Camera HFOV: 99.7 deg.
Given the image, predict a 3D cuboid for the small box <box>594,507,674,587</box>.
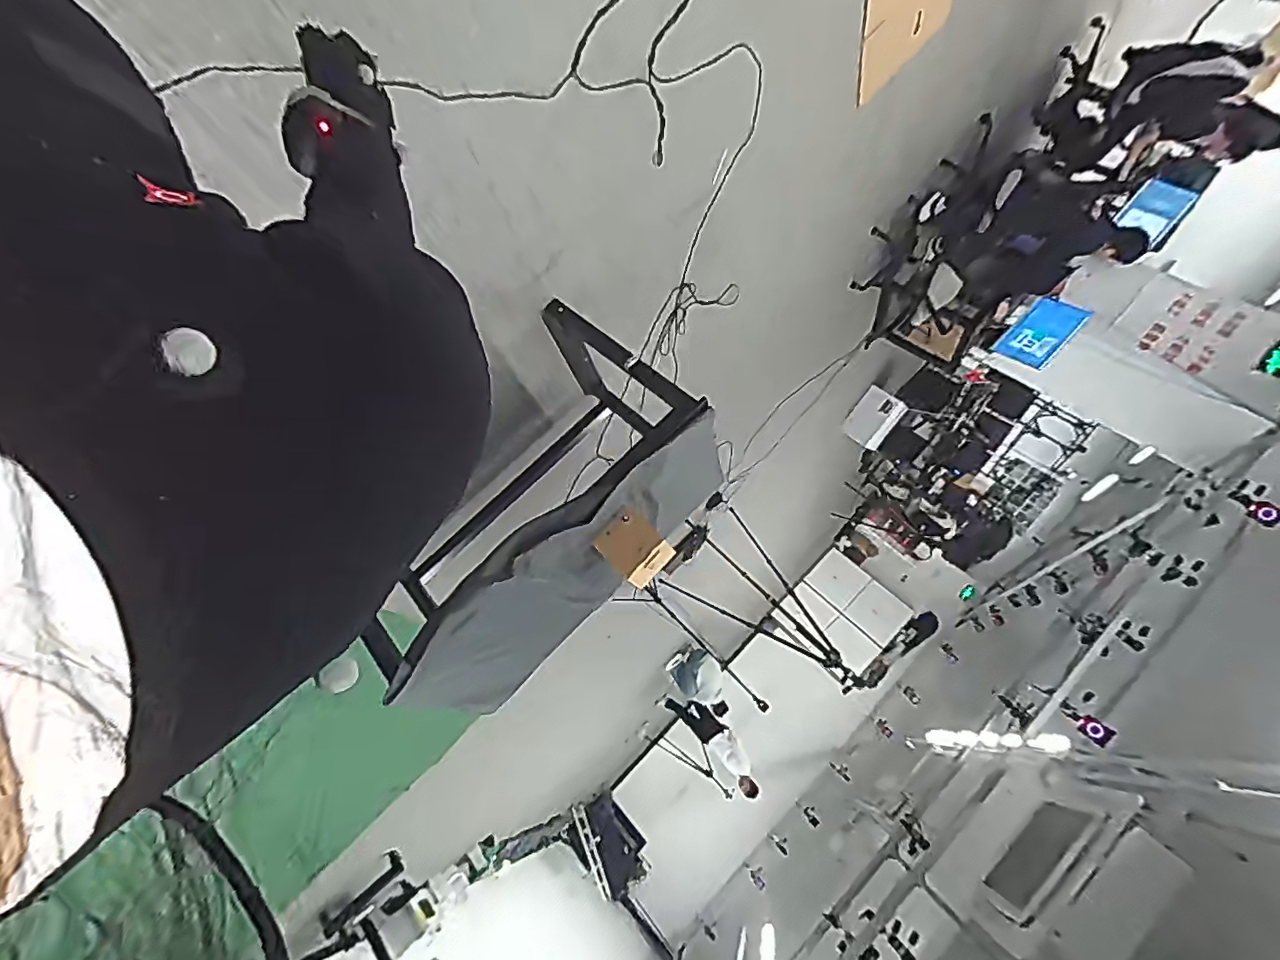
[{"bbox_3d":[-0.020,0.209,1.708,0.168,0.176,0.179,-46,155,-4],"label":"small box"}]
